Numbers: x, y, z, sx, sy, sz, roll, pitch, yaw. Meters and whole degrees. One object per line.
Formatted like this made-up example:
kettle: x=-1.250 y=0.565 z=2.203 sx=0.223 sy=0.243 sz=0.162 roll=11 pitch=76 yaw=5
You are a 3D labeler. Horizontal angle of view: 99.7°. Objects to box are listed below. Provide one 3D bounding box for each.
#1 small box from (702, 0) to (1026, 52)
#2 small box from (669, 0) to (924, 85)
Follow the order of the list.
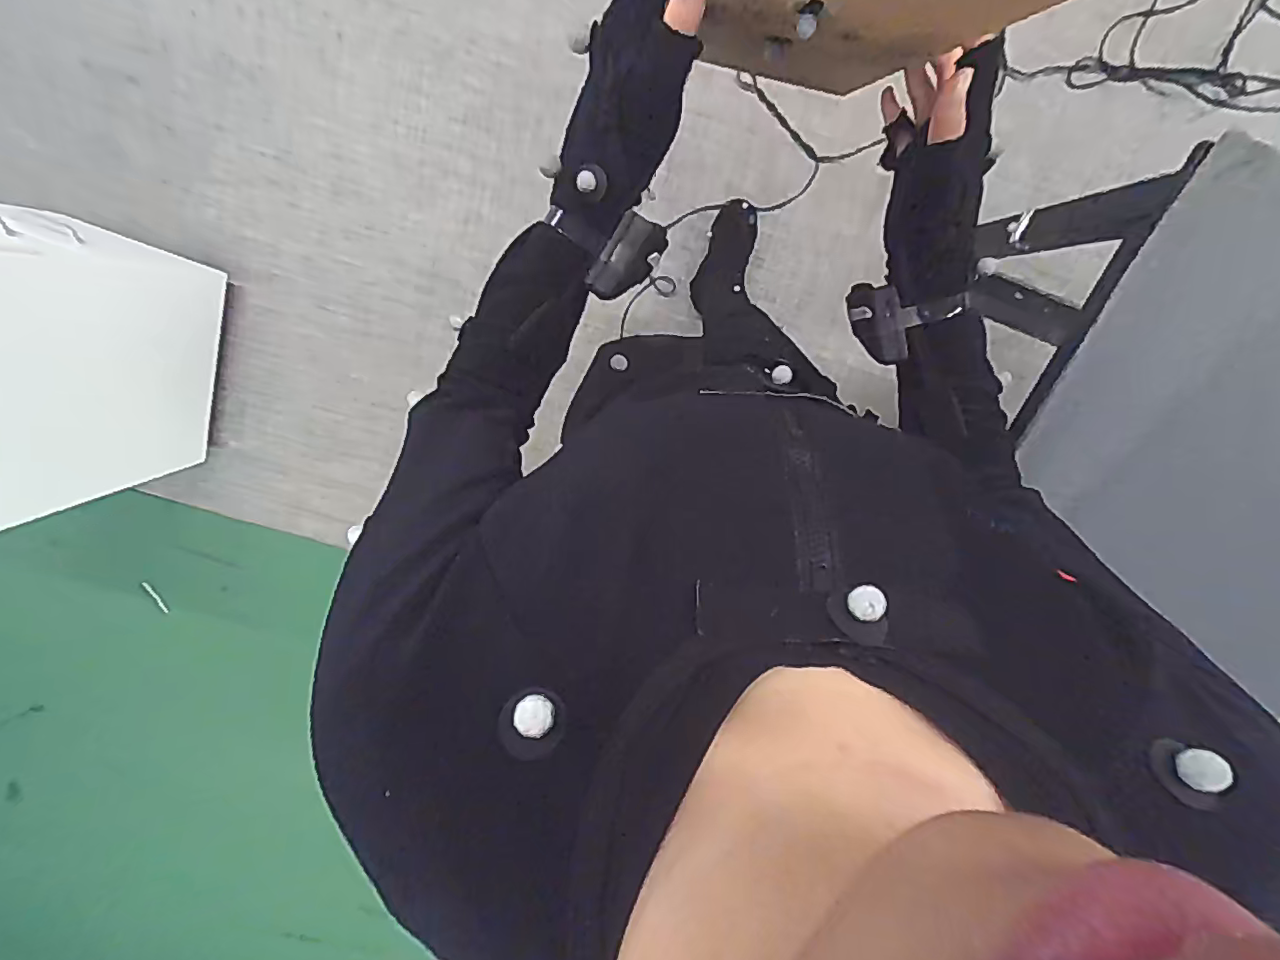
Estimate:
small box: x=0.123 y=-0.336 z=0.248 sx=0.168 sy=0.176 sz=0.179 roll=7 pitch=118 yaw=-6
small box: x=0.123 y=-0.412 z=0.392 sx=0.179 sy=0.176 sz=0.168 roll=9 pitch=117 yaw=-7
